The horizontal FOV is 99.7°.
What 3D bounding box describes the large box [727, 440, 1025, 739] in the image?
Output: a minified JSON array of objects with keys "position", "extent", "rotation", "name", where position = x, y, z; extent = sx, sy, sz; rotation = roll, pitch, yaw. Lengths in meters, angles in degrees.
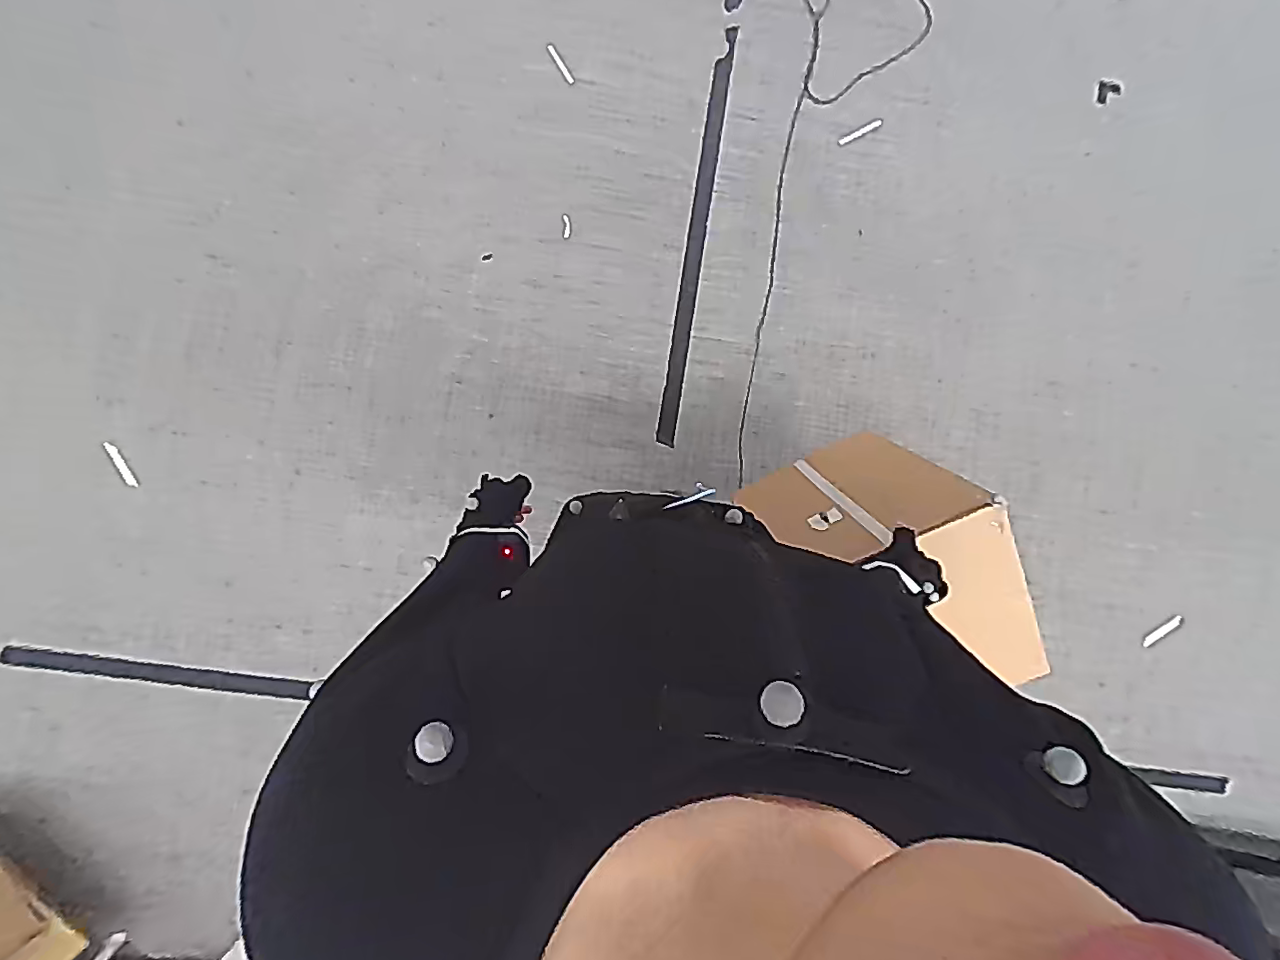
[{"position":[0.390,0.167,0.983],"extent":[0.320,0.408,0.320],"rotation":[-24,109,5],"name":"large box"}]
